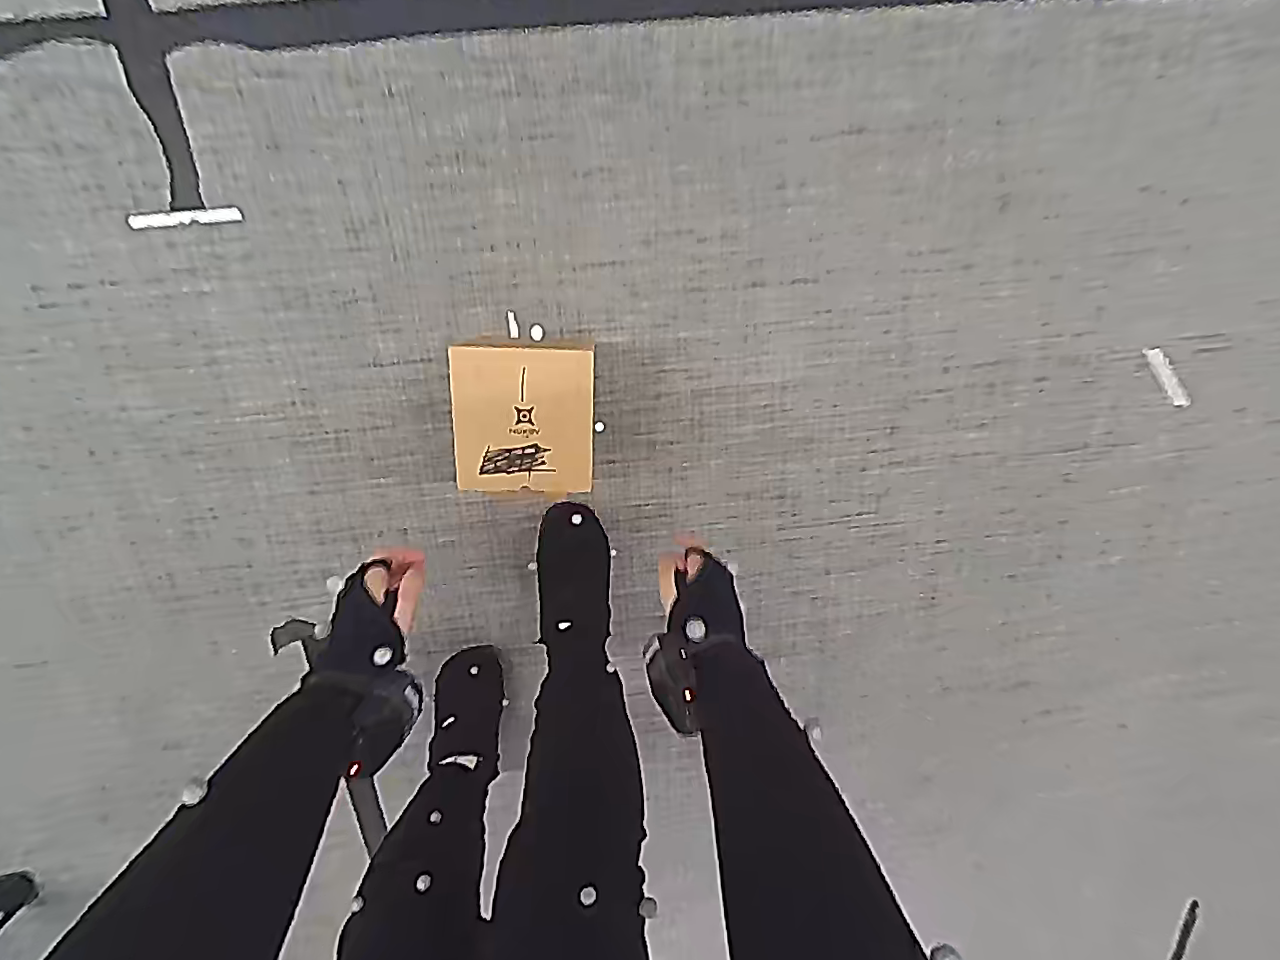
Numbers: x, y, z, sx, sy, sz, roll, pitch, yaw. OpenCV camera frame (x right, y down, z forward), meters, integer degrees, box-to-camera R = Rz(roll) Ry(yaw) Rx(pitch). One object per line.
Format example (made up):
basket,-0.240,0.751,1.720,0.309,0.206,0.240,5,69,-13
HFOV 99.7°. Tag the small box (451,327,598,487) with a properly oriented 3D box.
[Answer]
small box,-0.140,-0.101,0.708,0.168,0.176,0.179,1,108,-6
